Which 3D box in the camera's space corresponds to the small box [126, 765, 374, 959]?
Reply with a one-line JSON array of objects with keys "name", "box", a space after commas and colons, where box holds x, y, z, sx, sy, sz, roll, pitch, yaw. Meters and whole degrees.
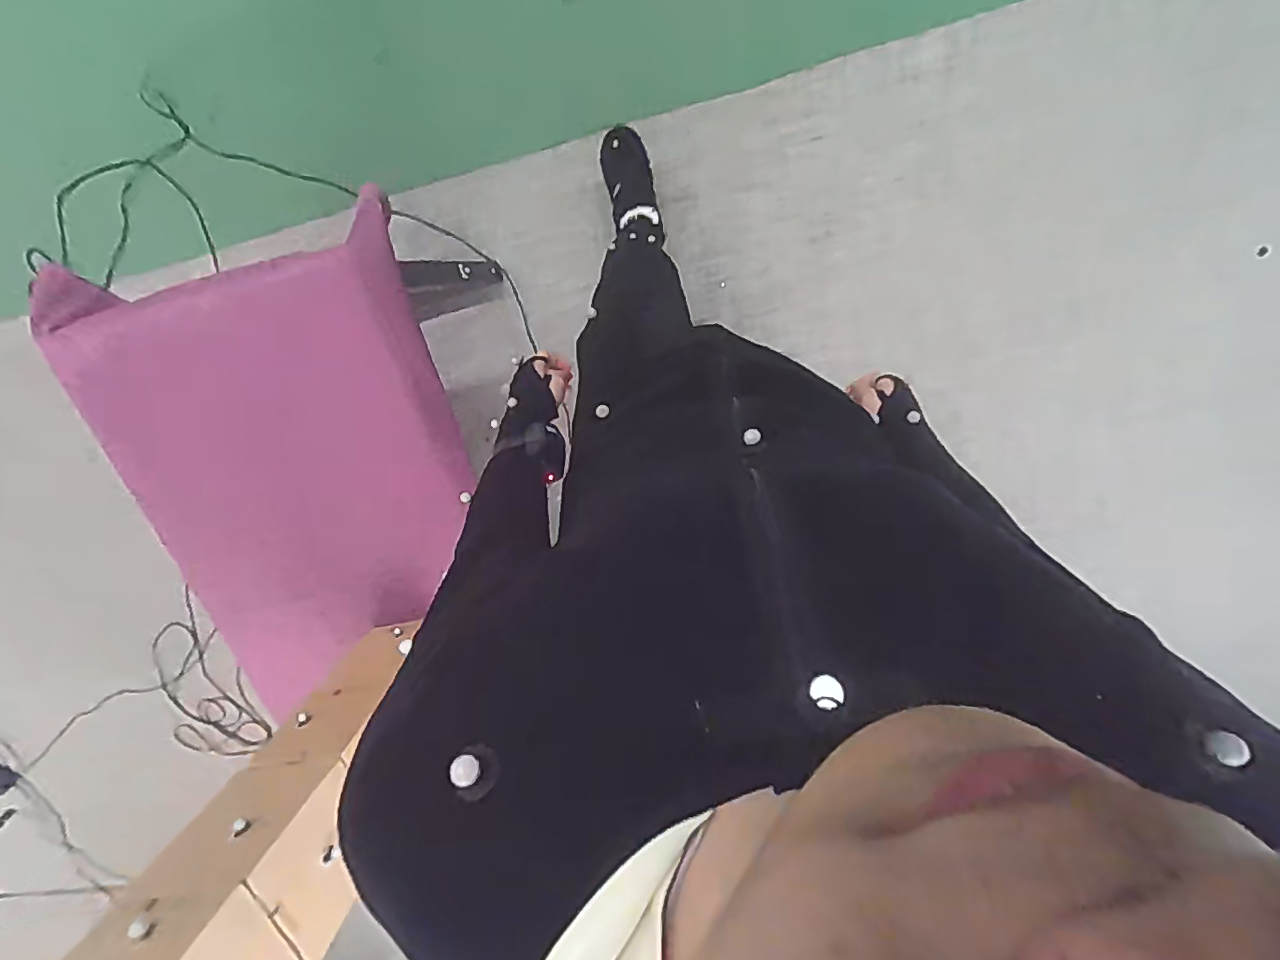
[{"name": "small box", "box": [-0.480, 0.500, 0.702, 0.179, 0.176, 0.168, -13, 108, 11]}]

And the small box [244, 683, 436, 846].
[{"name": "small box", "box": [-0.456, 0.443, 0.853, 0.168, 0.176, 0.179, -12, 109, 11]}]

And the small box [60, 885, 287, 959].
[{"name": "small box", "box": [-0.496, 0.555, 0.547, 0.168, 0.176, 0.179, -13, 107, 12]}]
